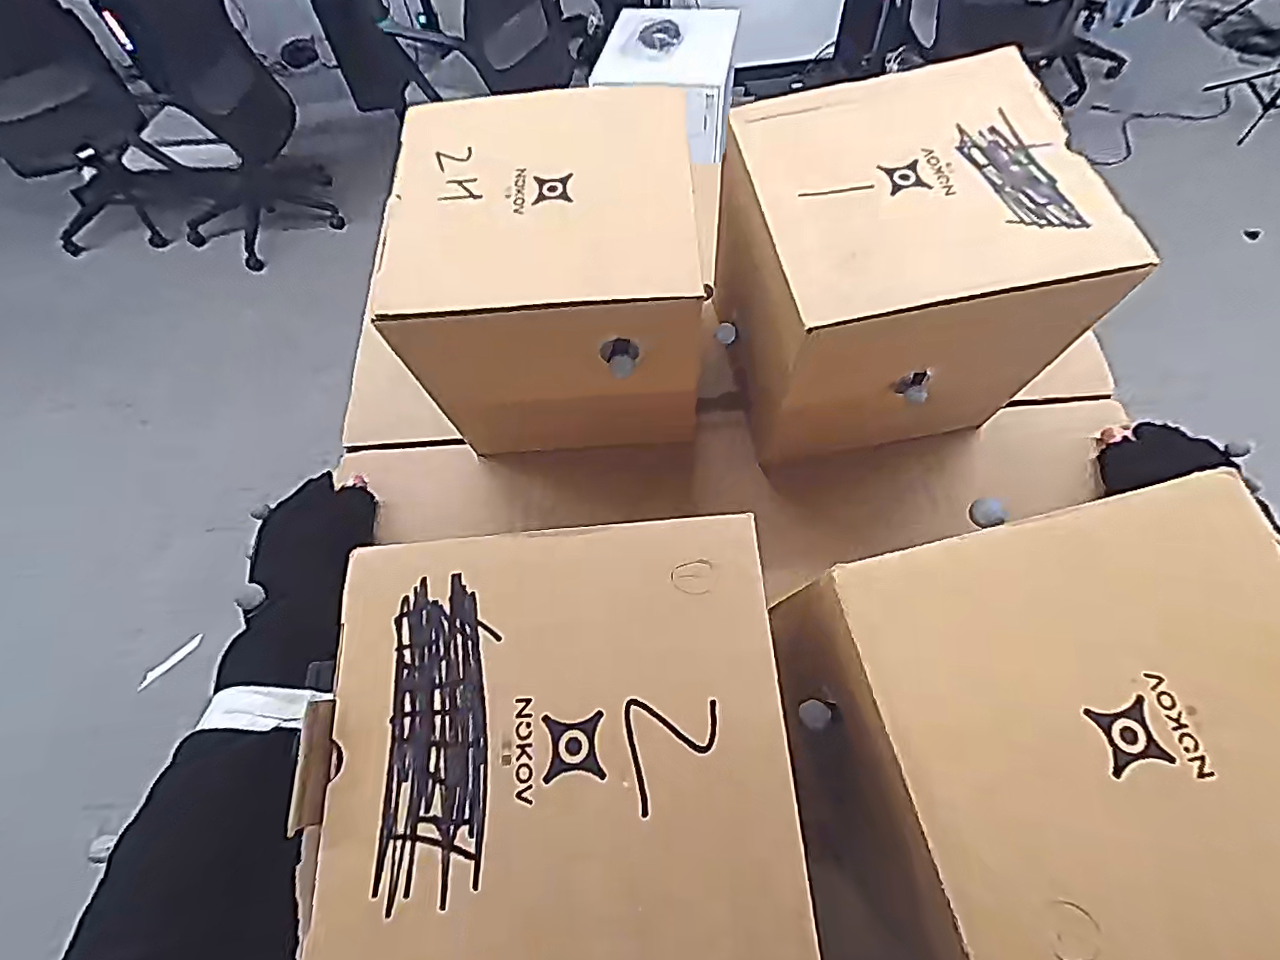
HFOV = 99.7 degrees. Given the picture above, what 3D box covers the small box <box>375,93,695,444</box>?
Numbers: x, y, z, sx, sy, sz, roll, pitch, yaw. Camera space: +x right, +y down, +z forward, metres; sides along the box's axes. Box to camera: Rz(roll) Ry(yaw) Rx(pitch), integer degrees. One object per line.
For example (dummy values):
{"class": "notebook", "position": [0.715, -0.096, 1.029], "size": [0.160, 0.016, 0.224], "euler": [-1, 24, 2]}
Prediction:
{"class": "small box", "position": [-0.054, -0.136, 0.392], "size": [0.179, 0.176, 0.168], "euler": [-3, 67, 4]}
